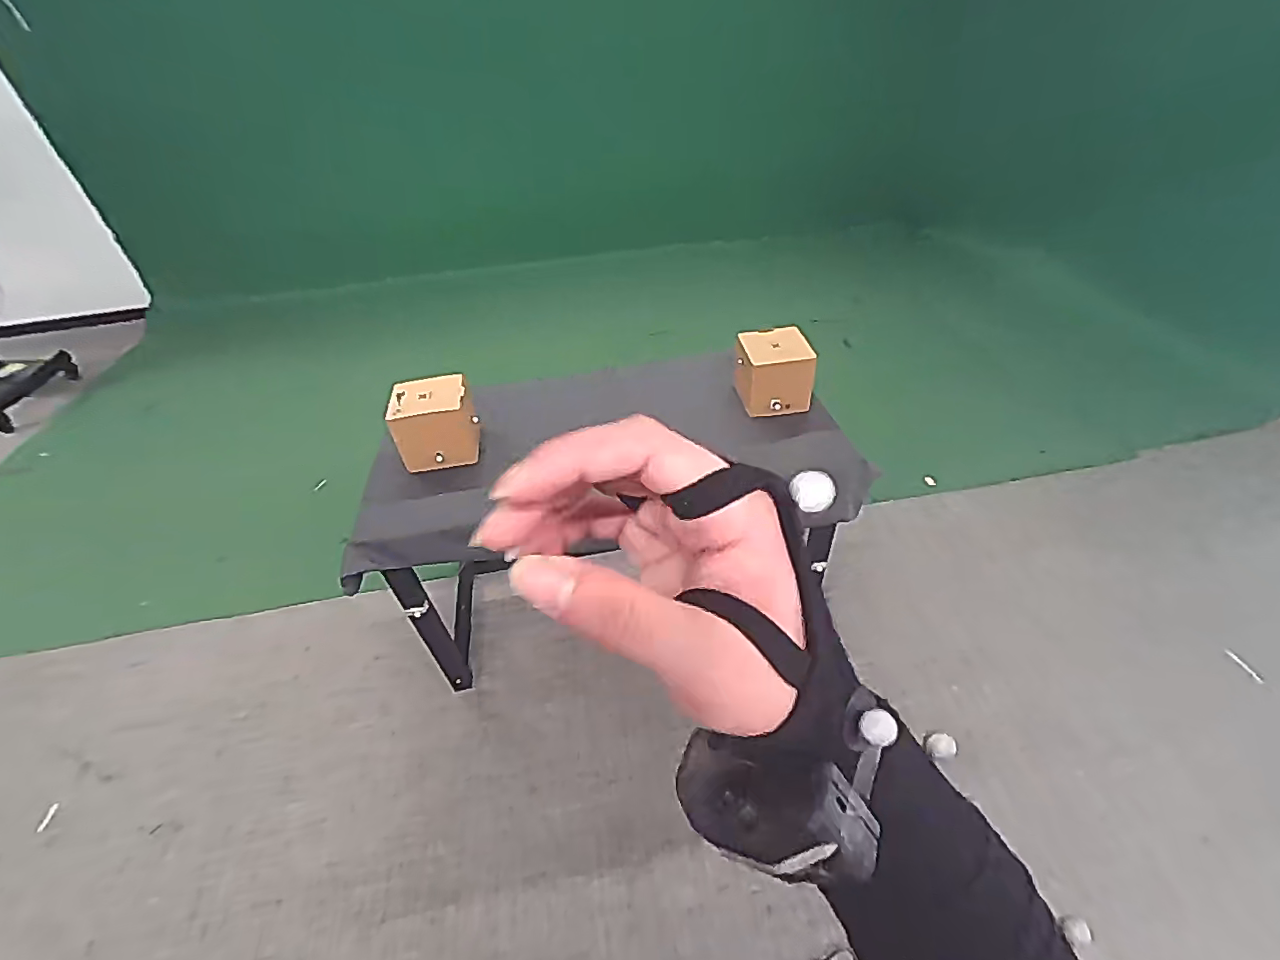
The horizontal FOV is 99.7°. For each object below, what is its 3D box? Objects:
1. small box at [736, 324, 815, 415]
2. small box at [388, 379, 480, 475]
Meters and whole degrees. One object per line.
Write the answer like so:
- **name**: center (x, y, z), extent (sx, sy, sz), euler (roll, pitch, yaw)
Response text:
- **small box**: center (0.355, -0.297, 1.451), extent (0.168, 0.176, 0.179), euler (-7, 42, 1)
- **small box**: center (-0.515, -0.134, 1.380), extent (0.179, 0.176, 0.168), euler (-9, 42, -6)
